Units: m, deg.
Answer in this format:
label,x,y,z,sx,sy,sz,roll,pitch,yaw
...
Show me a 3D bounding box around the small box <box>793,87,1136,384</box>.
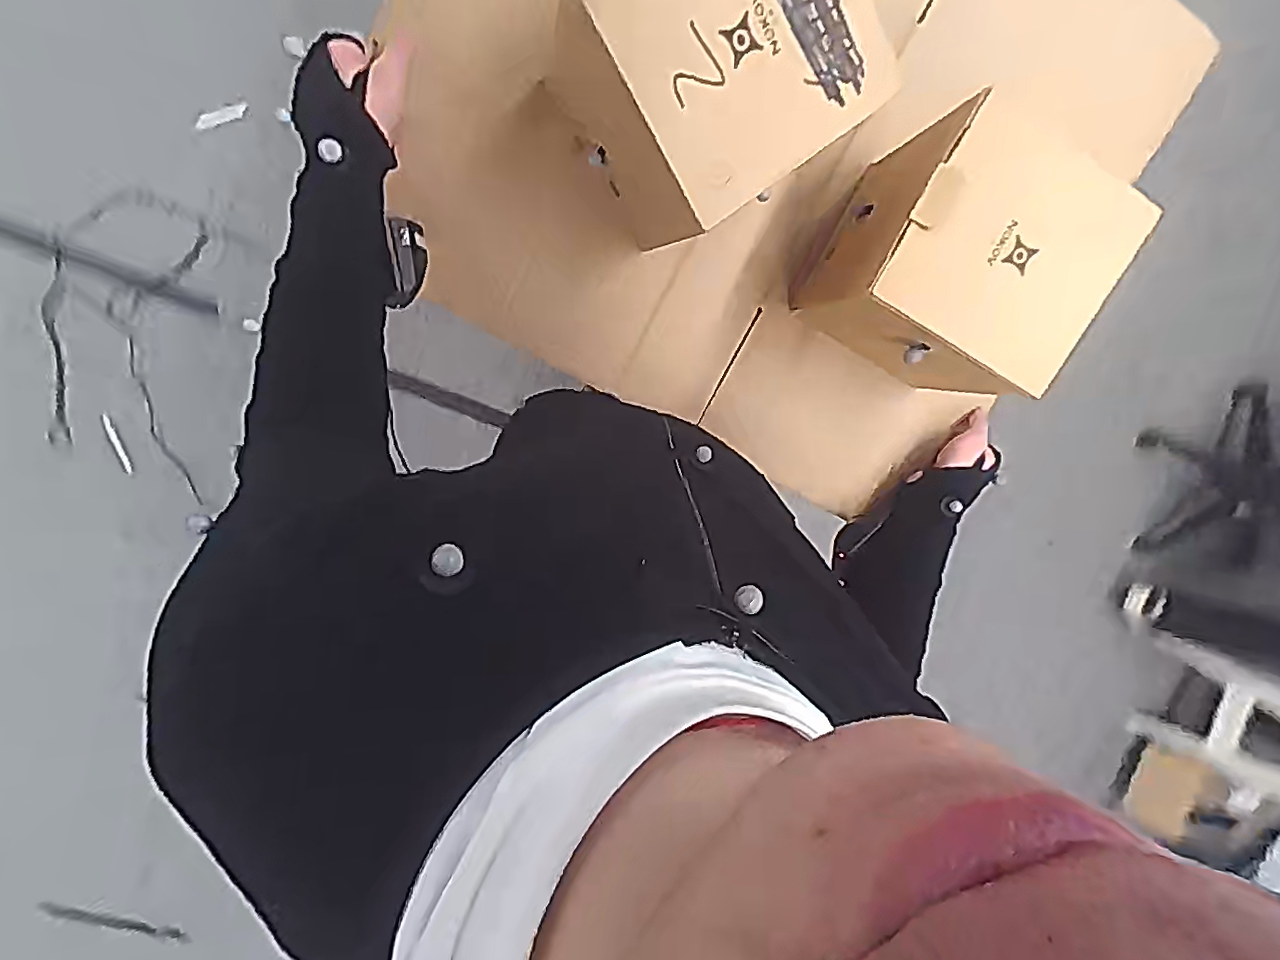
label,x,y,z,sx,sy,sz,roll,pitch,yaw
small box,0.279,-0.206,0.507,0.179,0.176,0.168,25,99,-10
